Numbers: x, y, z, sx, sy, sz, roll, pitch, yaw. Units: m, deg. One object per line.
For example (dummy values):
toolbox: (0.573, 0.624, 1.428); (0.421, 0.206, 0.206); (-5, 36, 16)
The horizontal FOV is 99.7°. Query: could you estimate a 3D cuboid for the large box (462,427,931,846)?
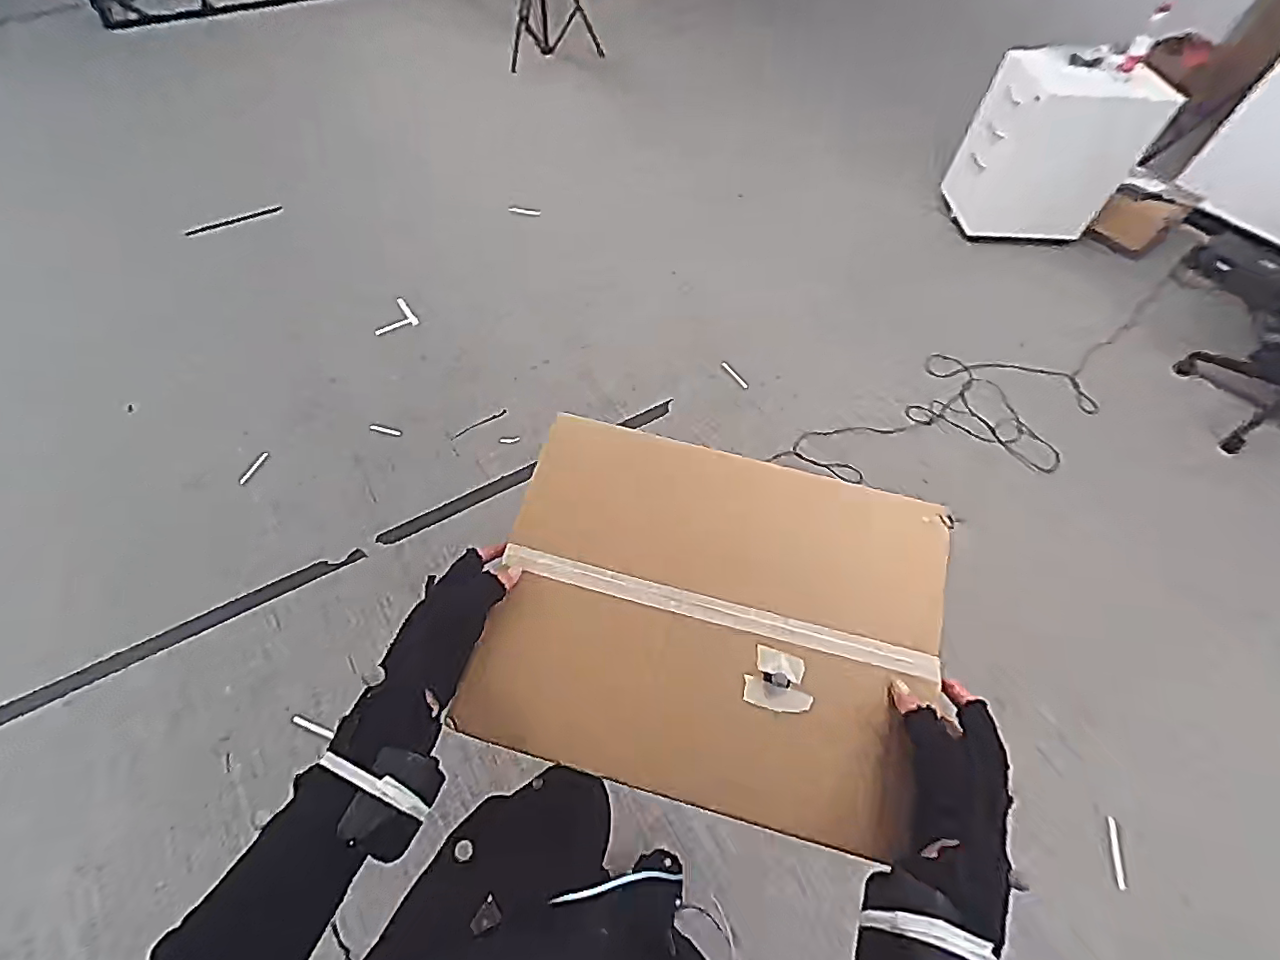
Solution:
large box: (0.065, 0.174, 0.652); (0.408, 0.320, 0.320); (14, 71, 5)
